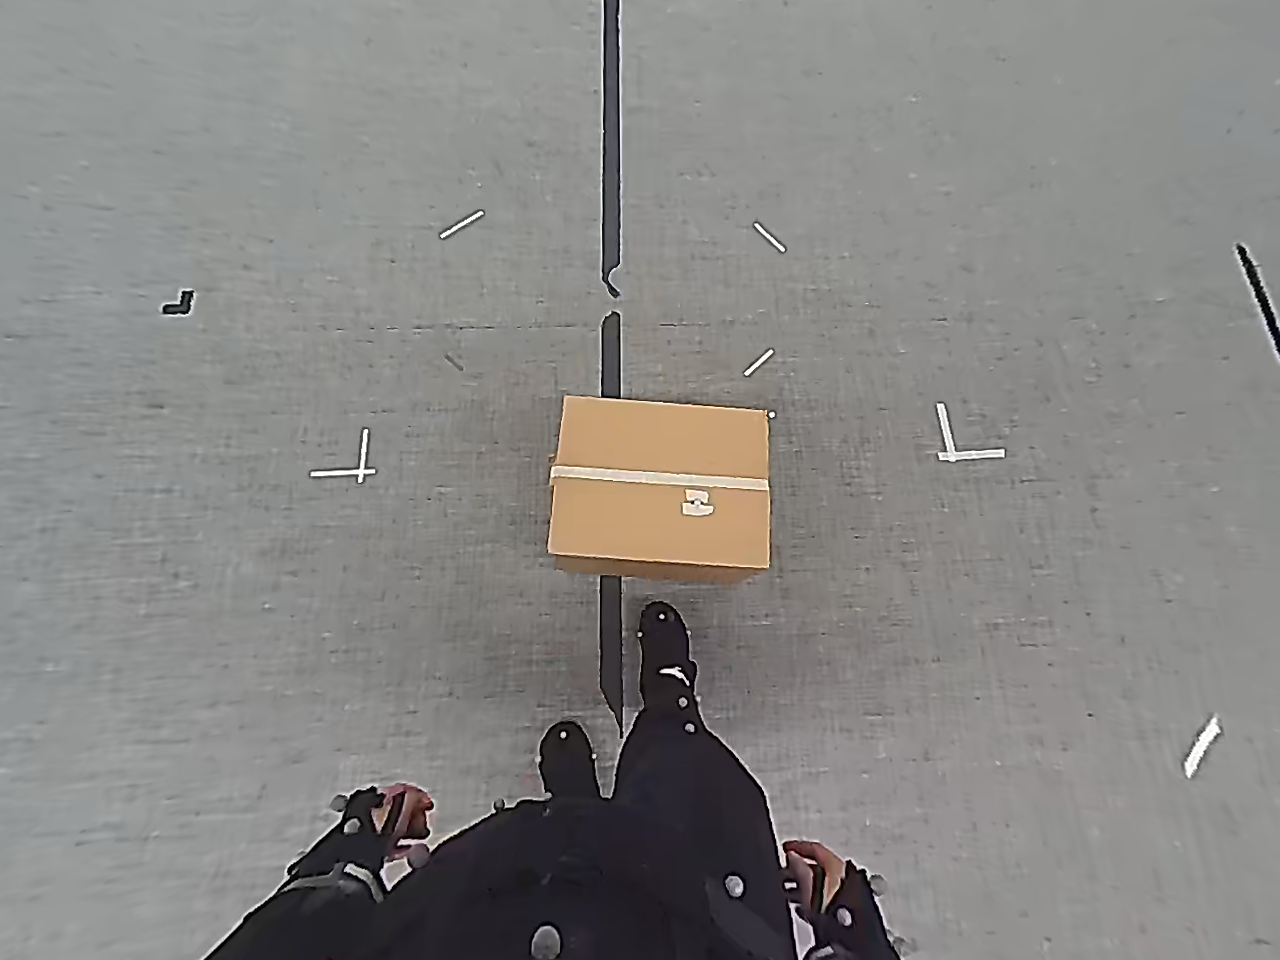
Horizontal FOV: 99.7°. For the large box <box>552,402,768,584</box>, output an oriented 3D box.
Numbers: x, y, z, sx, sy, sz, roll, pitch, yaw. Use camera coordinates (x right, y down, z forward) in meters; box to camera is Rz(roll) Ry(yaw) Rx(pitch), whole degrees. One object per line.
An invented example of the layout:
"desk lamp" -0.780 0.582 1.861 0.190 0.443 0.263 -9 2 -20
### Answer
"large box" 0.035 0.047 1.162 0.408 0.320 0.320 4 75 -2
